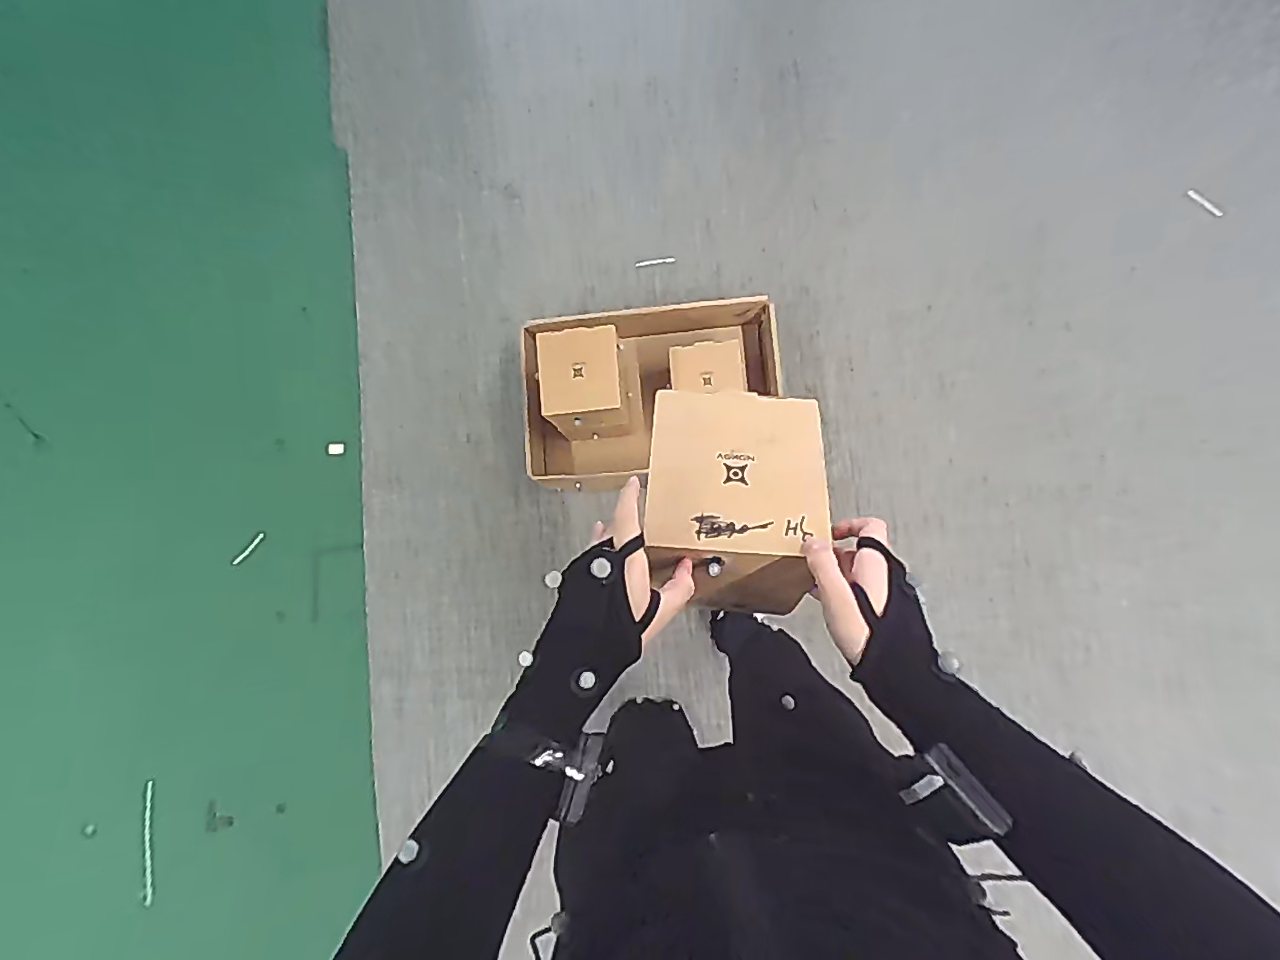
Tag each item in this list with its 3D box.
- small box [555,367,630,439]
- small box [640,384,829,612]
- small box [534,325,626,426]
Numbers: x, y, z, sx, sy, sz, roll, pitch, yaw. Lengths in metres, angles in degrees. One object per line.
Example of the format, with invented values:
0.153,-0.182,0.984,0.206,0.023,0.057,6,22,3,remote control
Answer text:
-0.117,-0.201,1.340,0.168,0.176,0.179,-4,83,3,small box
0.088,0.023,0.574,0.168,0.176,0.179,4,59,3,small box
-0.124,-0.218,1.178,0.168,0.176,0.179,-5,84,4,small box
